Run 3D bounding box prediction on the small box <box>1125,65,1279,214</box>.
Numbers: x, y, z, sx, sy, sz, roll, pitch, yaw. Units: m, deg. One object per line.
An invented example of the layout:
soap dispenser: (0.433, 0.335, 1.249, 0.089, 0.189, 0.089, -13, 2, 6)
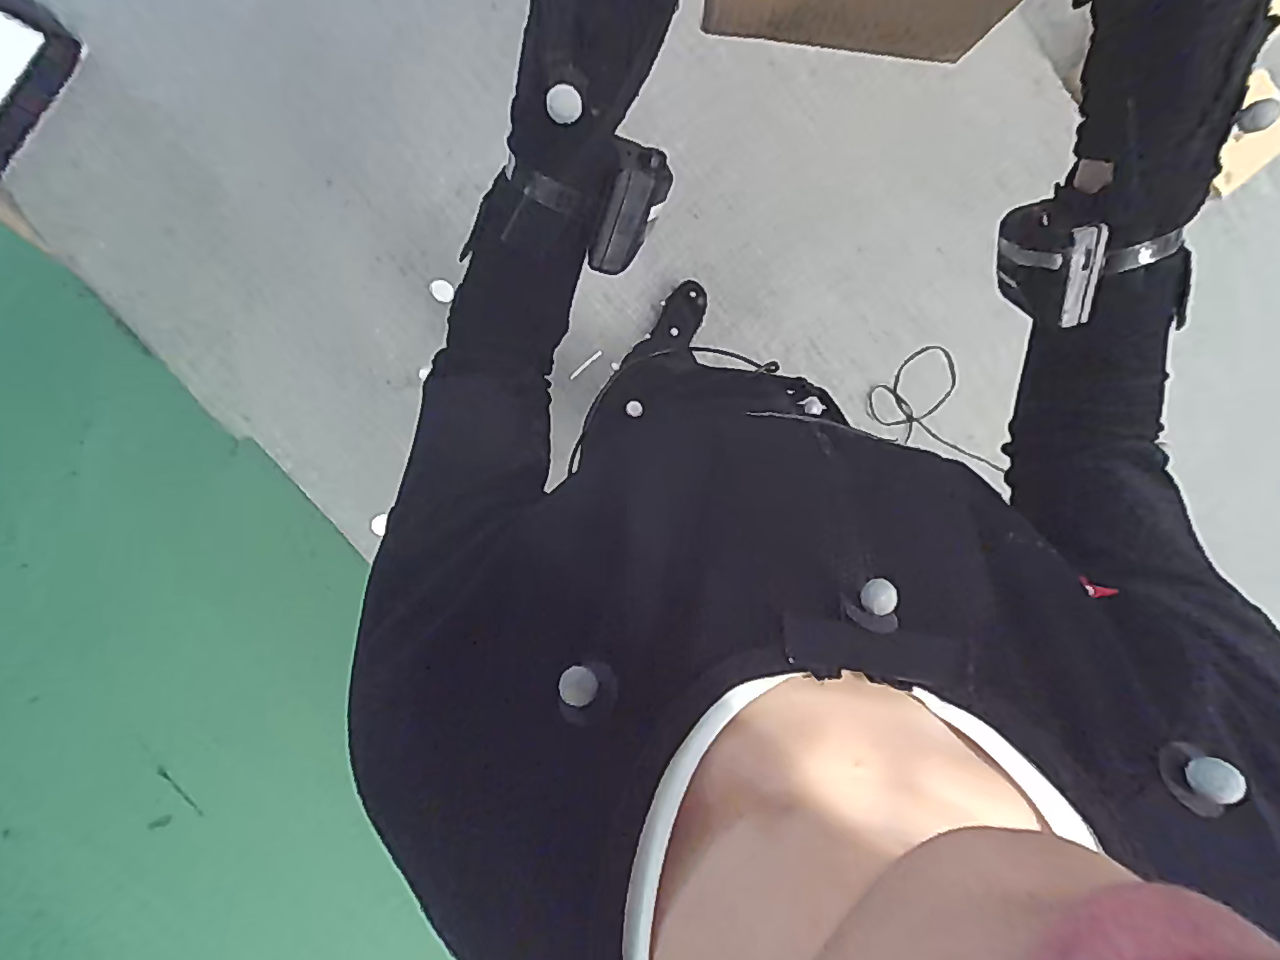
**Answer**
small box: (1.212, -0.711, 1.151, 0.179, 0.176, 0.168, -41, 95, 11)
